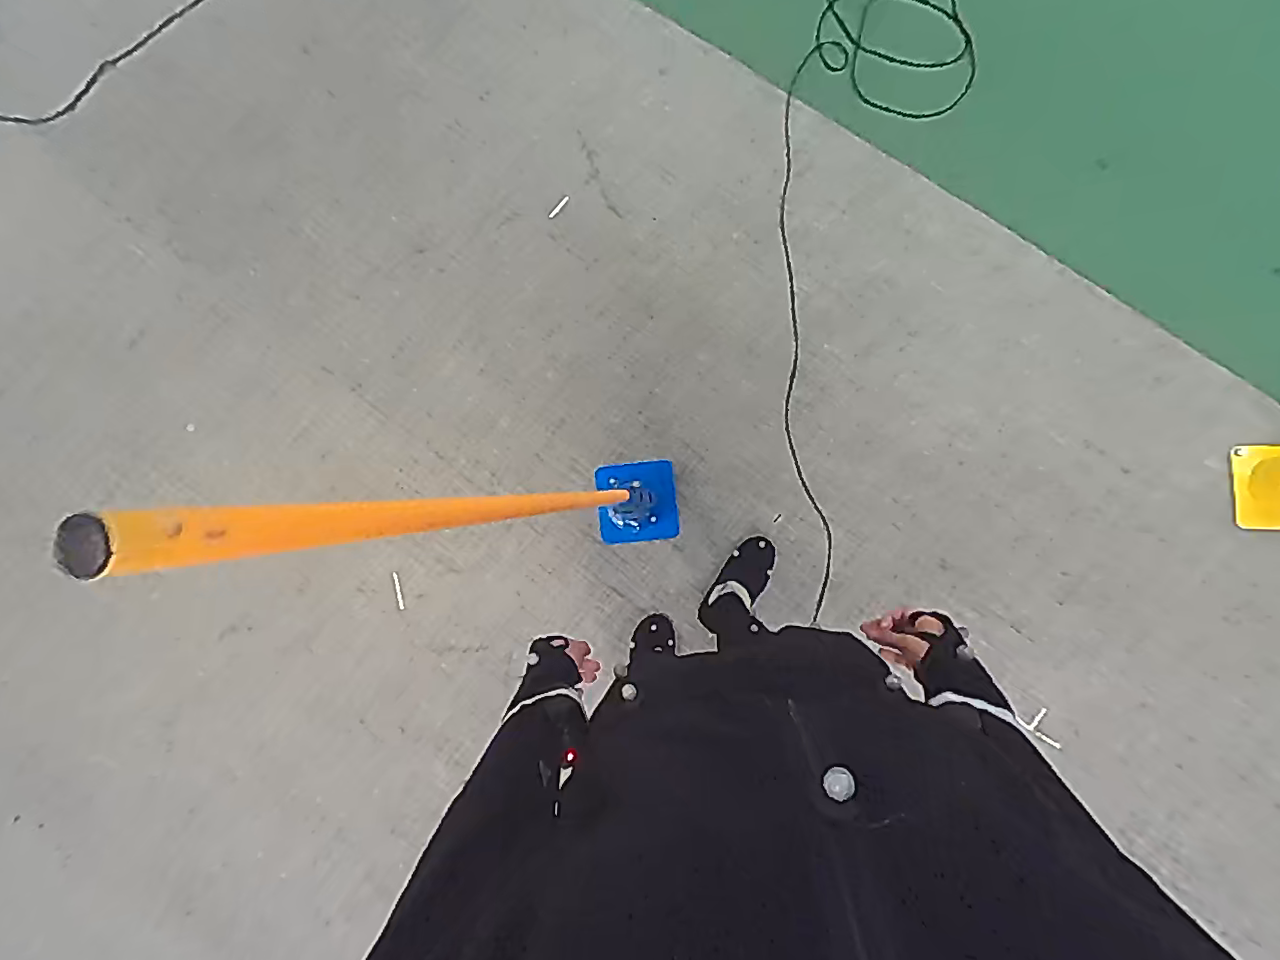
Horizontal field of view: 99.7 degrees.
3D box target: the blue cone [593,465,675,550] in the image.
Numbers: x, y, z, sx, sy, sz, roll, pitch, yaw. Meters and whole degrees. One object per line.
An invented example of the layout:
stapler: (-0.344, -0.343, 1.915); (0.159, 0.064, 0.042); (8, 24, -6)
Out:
blue cone: (-0.028, 0.058, 1.164); (0.193, 0.380, 0.192); (-9, 86, 4)
